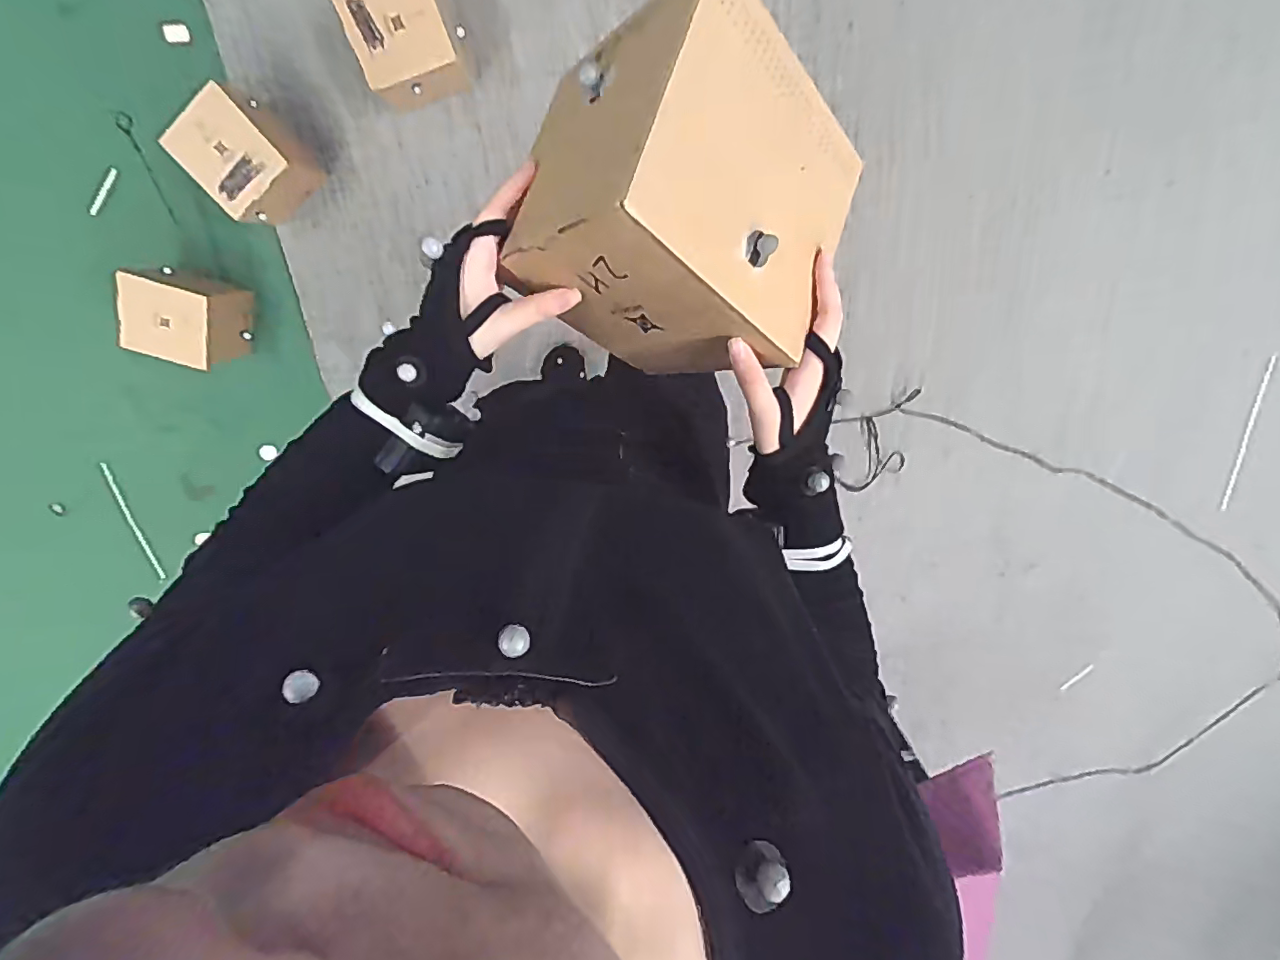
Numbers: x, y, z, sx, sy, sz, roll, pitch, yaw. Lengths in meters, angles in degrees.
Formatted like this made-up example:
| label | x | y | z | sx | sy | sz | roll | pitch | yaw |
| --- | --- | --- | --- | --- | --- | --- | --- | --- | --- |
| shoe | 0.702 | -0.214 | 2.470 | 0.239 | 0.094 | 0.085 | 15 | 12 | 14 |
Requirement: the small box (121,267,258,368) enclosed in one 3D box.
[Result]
| label | x | y | z | sx | sy | sz | roll | pitch | yaw |
| --- | --- | --- | --- | --- | --- | --- | --- | --- | --- |
| small box | -1.014 | -0.371 | 1.226 | 0.179 | 0.176 | 0.168 | 16 | 111 | -9 |

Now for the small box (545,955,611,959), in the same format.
| label | x | y | z | sx | sy | sz | roll | pitch | yaw |
| --- | --- | --- | --- | --- | --- | --- | --- | --- | --- |
| small box | -0.130 | 1.133 | 1.118 | 0.168 | 0.176 | 0.179 | -4 | 112 | -1 |

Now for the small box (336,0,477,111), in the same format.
| label | x | y | z | sx | sy | sz | roll | pitch | yaw |
| --- | --- | --- | --- | --- | --- | --- | --- | --- | --- |
| small box | -0.442 | -0.851 | 1.051 | 0.179 | 0.176 | 0.168 | -17 | 113 | 4 |
